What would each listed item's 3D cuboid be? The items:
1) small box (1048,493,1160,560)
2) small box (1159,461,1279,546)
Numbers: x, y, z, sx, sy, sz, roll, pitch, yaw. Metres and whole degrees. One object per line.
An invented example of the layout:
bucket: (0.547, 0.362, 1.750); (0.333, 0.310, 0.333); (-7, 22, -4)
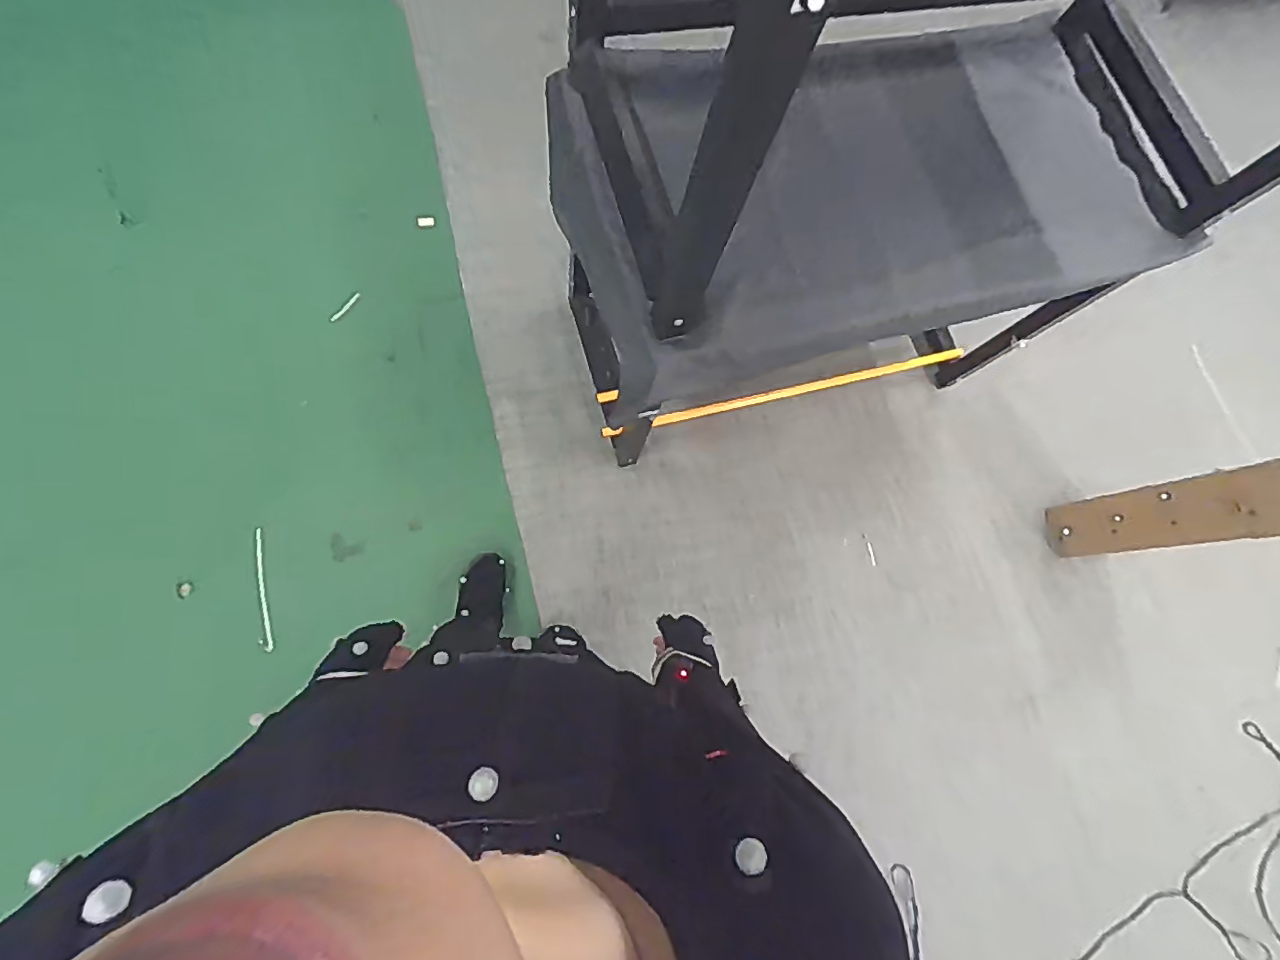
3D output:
small box: (1.416, 0.146, 1.661); (0.179, 0.176, 0.168); (-8, 76, -9)
small box: (1.458, 0.064, 1.348); (0.179, 0.176, 0.168); (-10, 78, -10)
